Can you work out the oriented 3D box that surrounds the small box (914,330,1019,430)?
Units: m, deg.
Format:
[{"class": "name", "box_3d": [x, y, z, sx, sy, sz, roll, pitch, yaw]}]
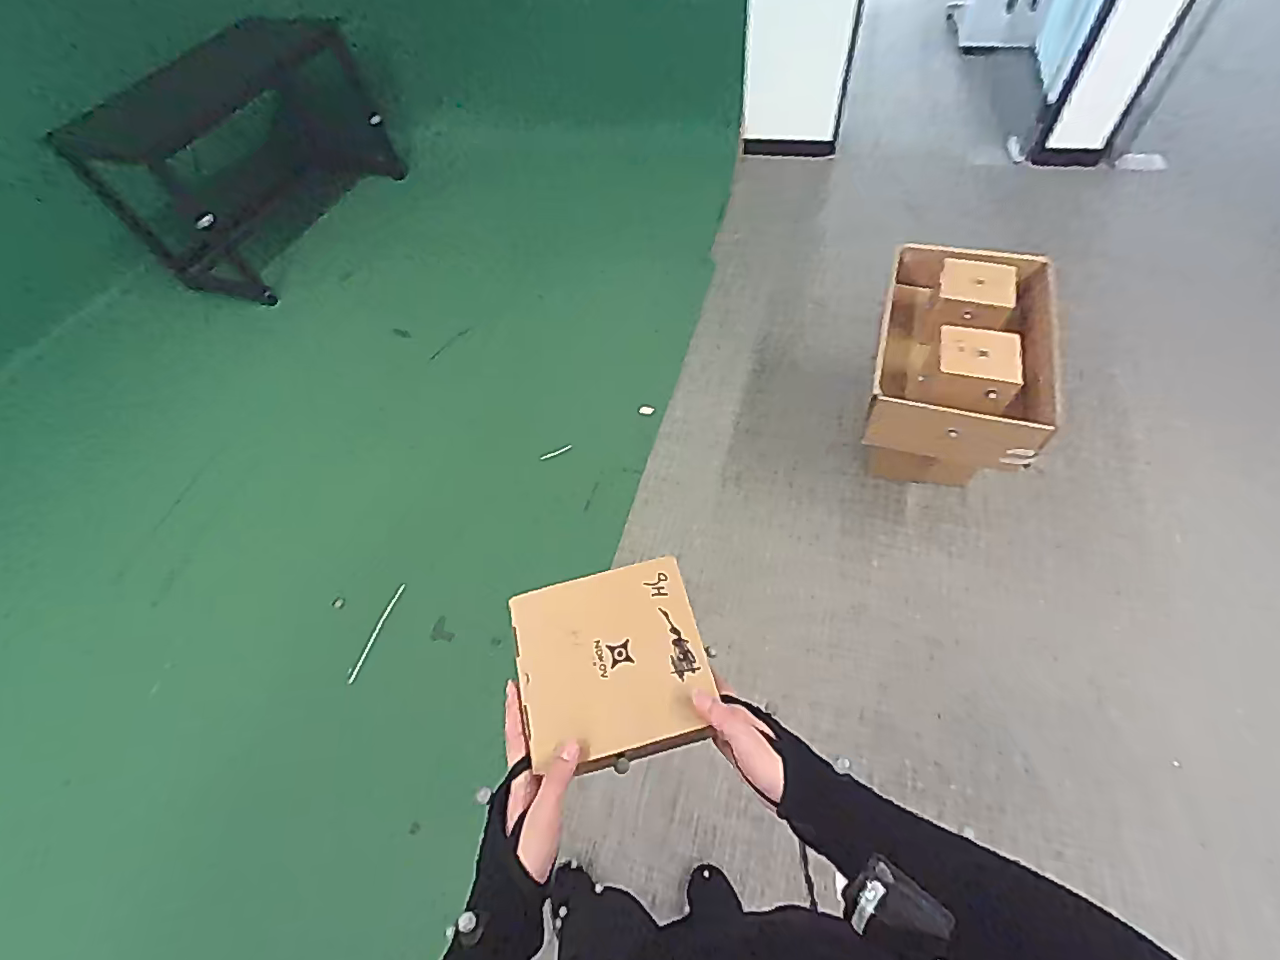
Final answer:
[{"class": "small box", "box_3d": [0.814, -0.247, 1.356, 0.179, 0.176, 0.168, 12, 59, 14]}]

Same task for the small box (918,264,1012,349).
[{"class": "small box", "box_3d": [0.890, -0.464, 1.493, 0.179, 0.176, 0.168, 16, 61, 15]}]

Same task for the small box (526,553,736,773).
[{"class": "small box", "box_3d": [-0.010, 0.201, 0.577, 0.179, 0.176, 0.168, -12, 59, -5]}]
